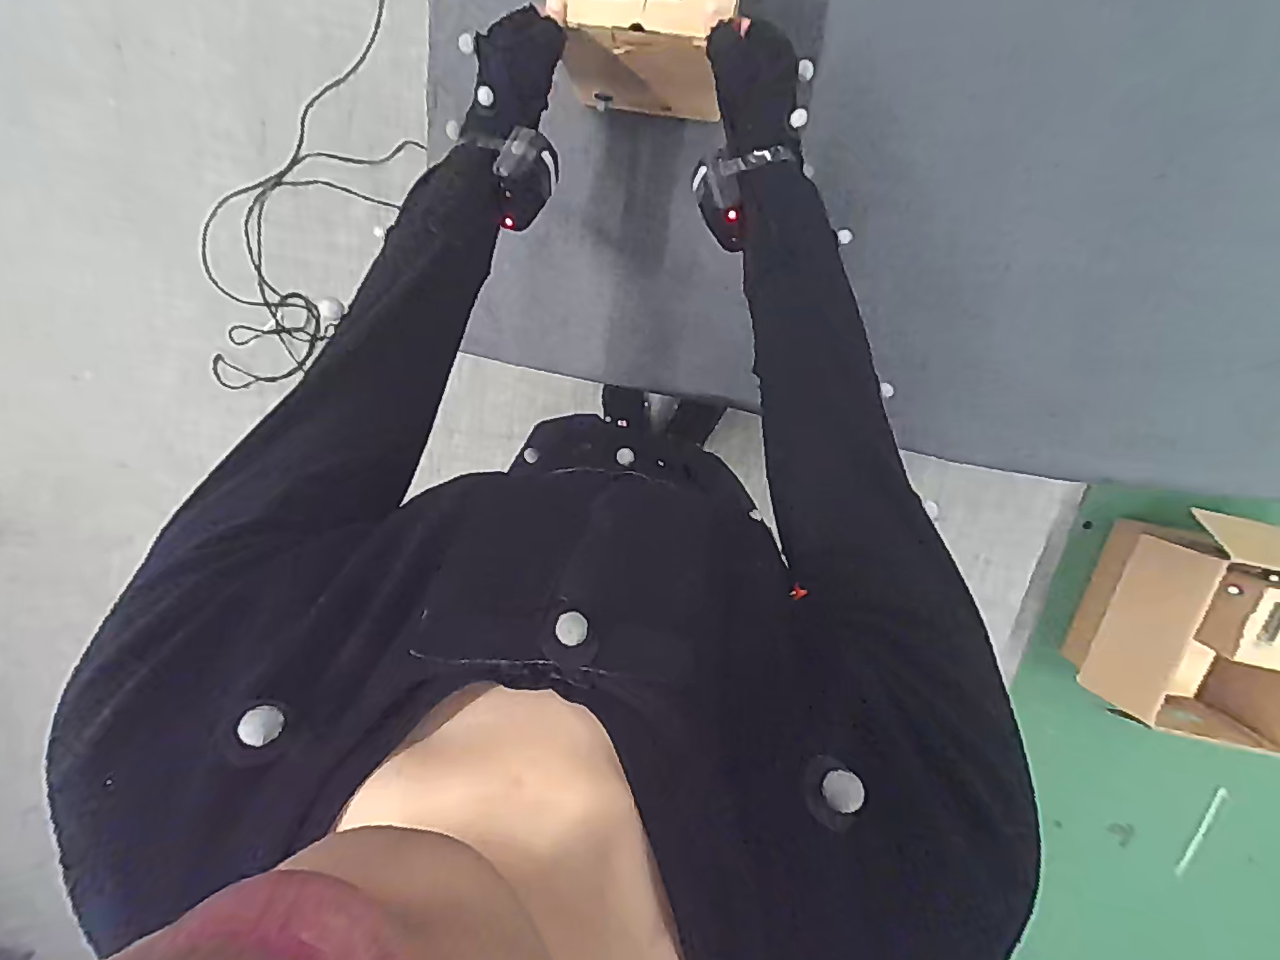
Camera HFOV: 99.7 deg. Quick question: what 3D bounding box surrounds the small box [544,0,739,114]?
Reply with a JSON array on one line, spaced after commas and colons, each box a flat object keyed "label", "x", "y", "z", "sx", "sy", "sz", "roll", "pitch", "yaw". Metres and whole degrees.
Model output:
[{"label": "small box", "x": 0.015, "y": -0.492, "z": 0.527, "sx": 0.168, "sy": 0.176, "sz": 0.179, "roll": 9, "pitch": 104, "yaw": 3}]
